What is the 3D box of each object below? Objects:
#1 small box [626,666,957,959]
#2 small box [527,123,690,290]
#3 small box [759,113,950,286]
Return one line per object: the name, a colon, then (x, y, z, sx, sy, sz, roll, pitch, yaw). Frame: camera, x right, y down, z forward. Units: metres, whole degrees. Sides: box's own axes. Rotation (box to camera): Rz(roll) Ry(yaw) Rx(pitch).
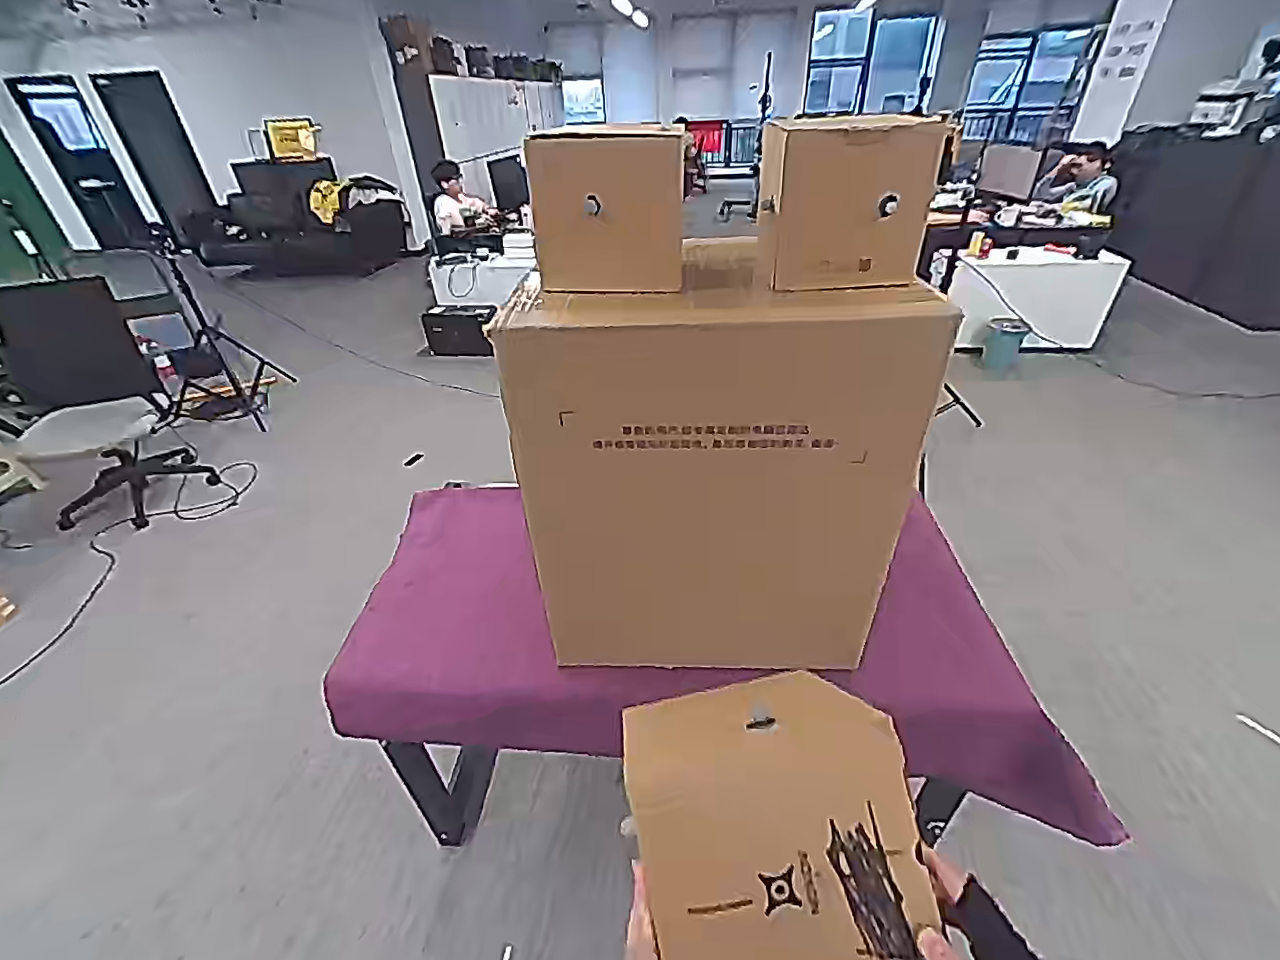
small box: (0.088, 0.248, 0.403, 0.179, 0.168, 0.176, -11, -9, -3)
small box: (-0.027, -0.347, 0.687, 0.179, 0.176, 0.168, 2, 36, 5)
small box: (0.244, -0.344, 0.667, 0.168, 0.176, 0.179, -1, 34, 3)
